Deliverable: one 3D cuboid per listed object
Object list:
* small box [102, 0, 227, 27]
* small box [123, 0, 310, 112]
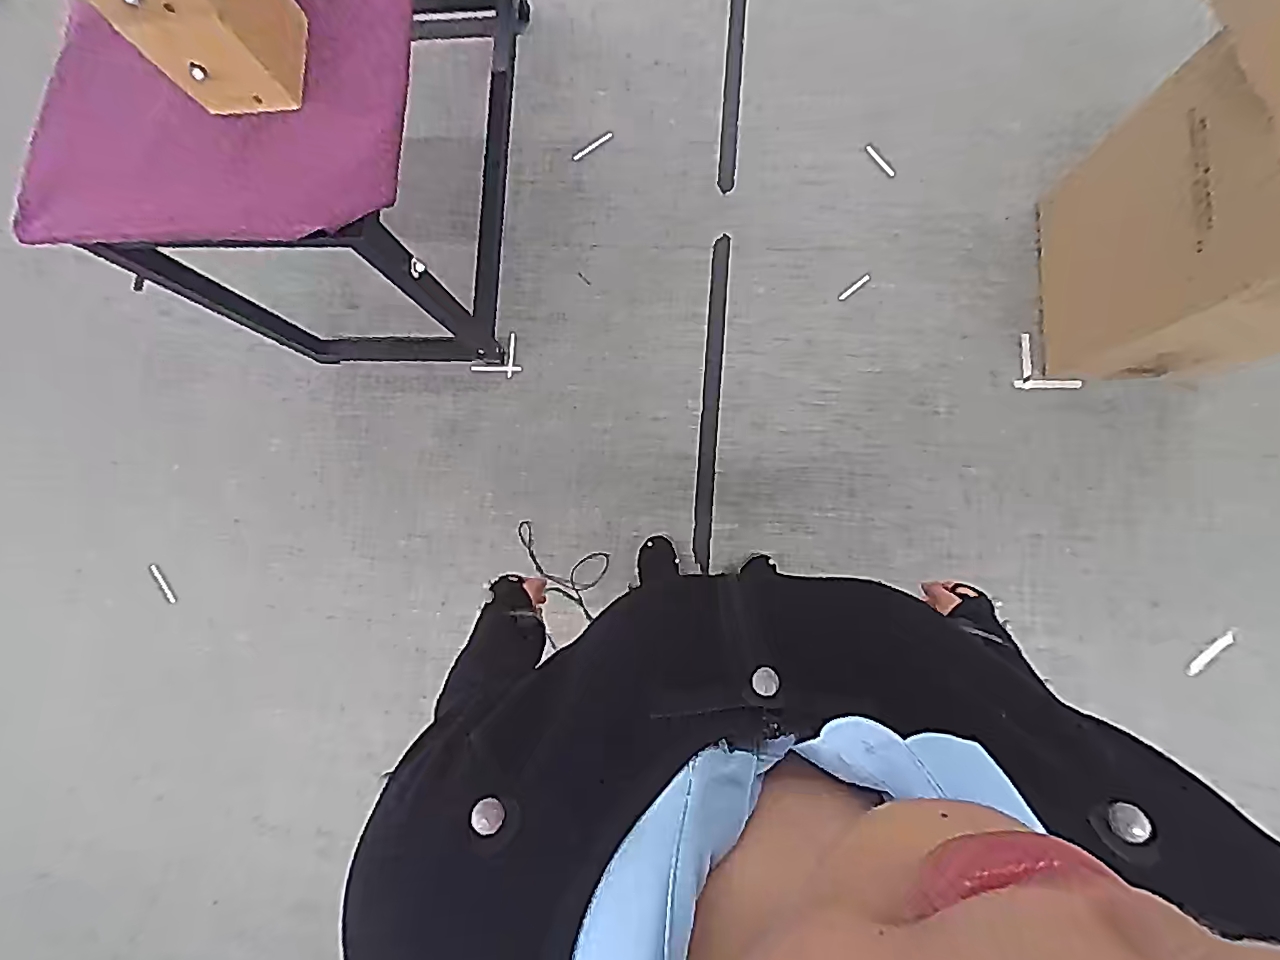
[{"bbox_3d":[-0.670,-0.744,0.701,0.168,0.176,0.179,-1,84,5],"label":"small box"},{"bbox_3d":[-0.661,-0.724,0.864,0.168,0.176,0.179,-1,83,5],"label":"small box"}]
